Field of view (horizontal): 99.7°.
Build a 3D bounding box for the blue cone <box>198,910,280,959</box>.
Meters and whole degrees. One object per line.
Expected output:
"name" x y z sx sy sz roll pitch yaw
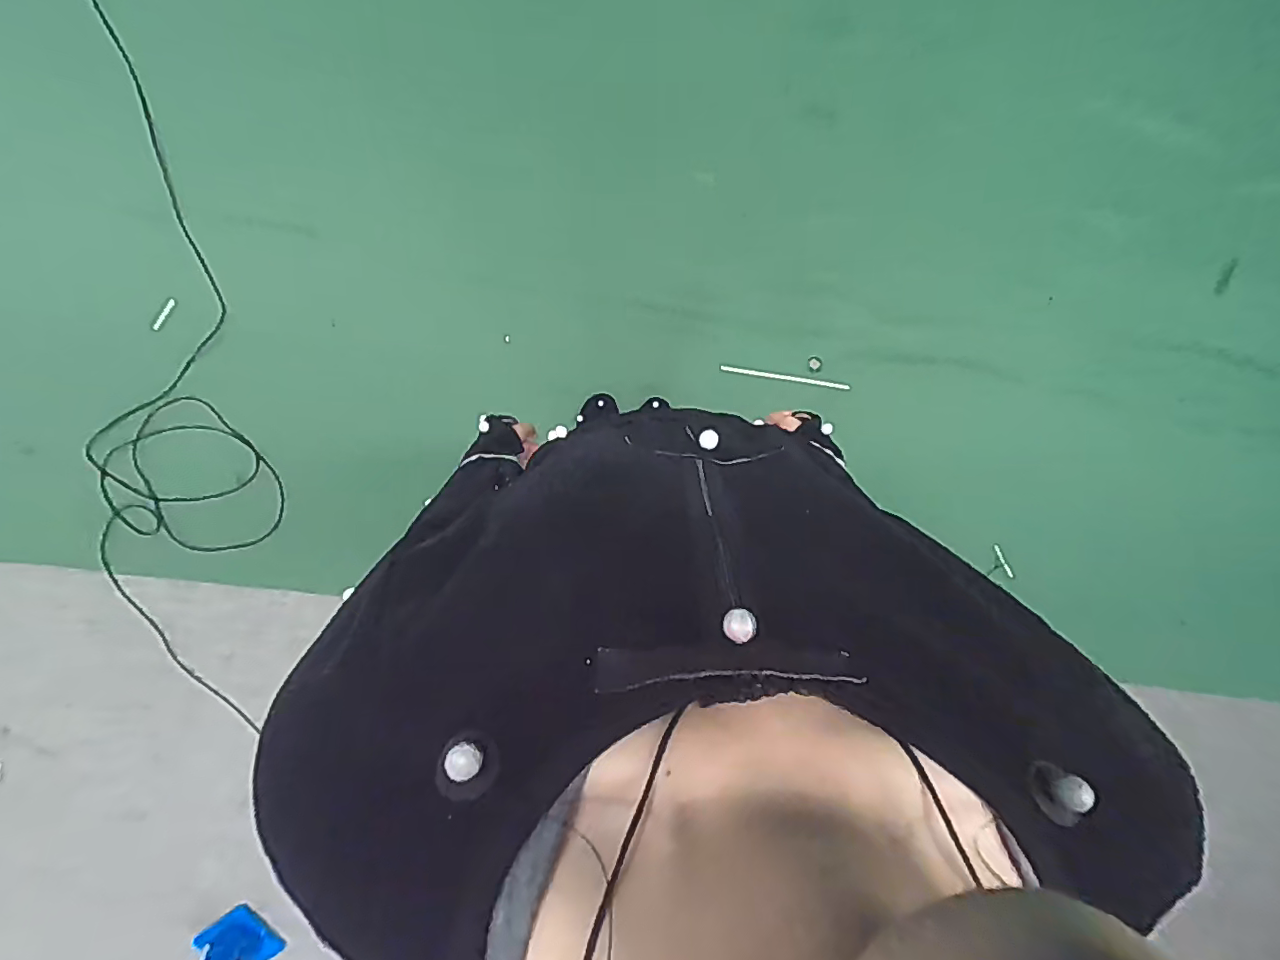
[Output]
"blue cone" -1.184 1.420 1.454 0.193 0.380 0.192 -36 102 3
